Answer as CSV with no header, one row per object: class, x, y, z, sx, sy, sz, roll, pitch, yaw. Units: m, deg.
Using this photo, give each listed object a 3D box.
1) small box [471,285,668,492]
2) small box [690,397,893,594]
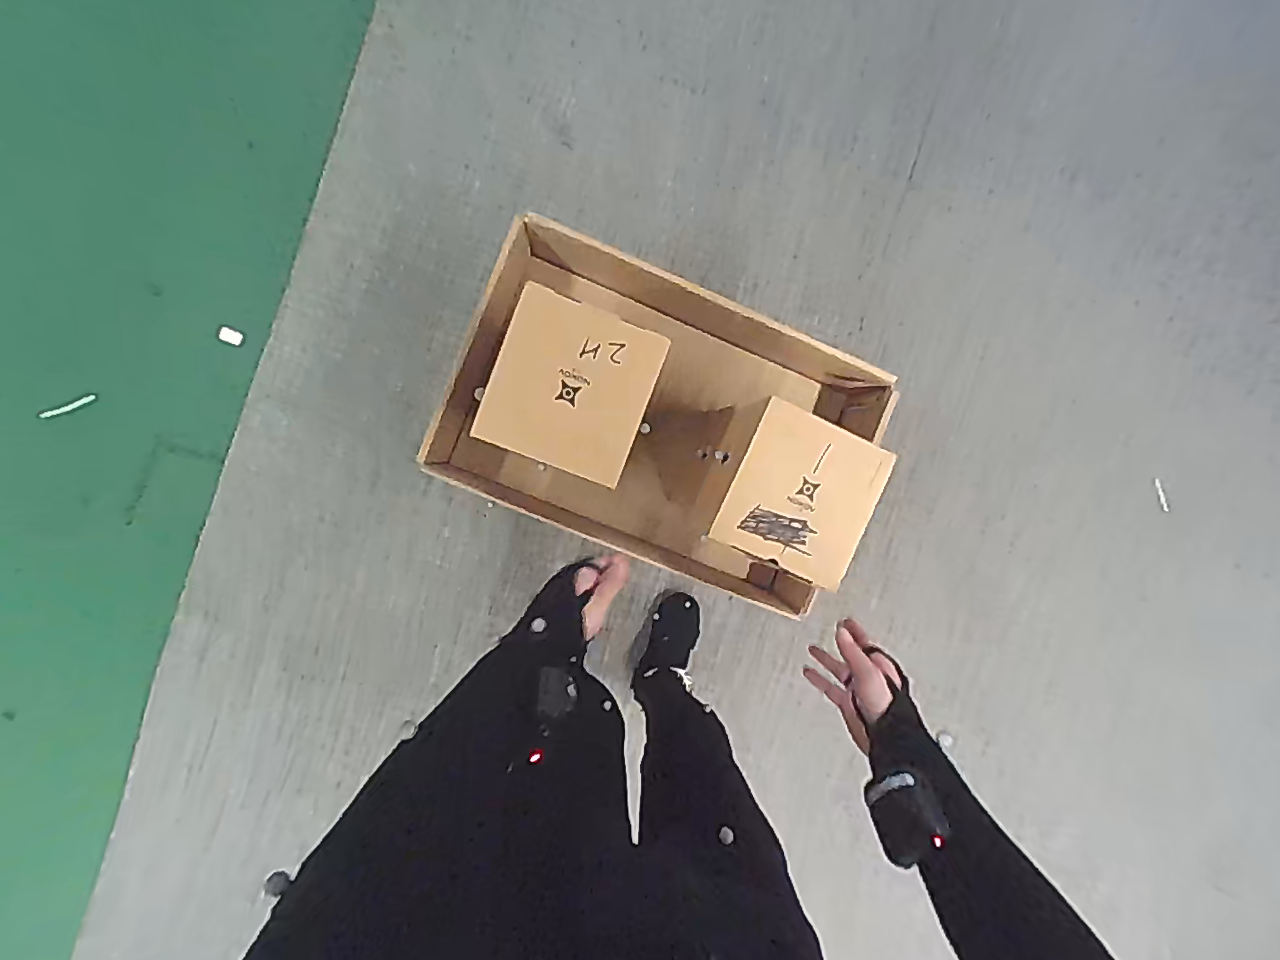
small box,-0.081,-0.100,0.654,0.168,0.176,0.179,21,91,-7
small box,0.174,0.017,0.686,0.168,0.176,0.179,25,89,-5
